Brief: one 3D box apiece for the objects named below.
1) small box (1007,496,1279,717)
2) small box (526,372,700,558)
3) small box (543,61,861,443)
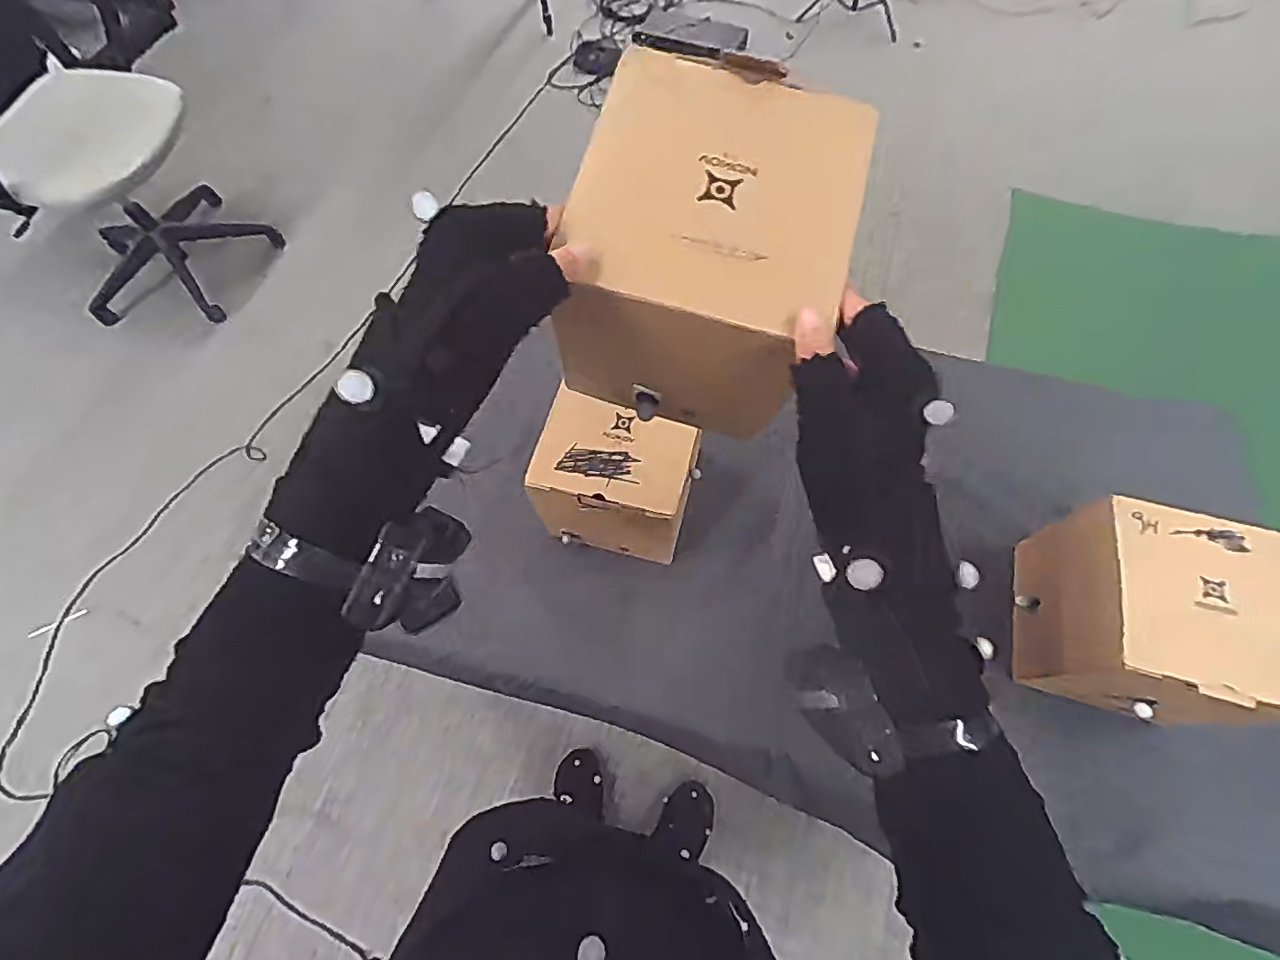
[{"bbox_3d":[0.528,0.144,0.581,0.168,0.176,0.179,15,67,8],"label":"small box"},{"bbox_3d":[-0.020,-0.019,0.666,0.168,0.176,0.179,13,65,7],"label":"small box"},{"bbox_3d":[0.039,-0.149,0.403,0.168,0.176,0.179,15,75,1],"label":"small box"}]
